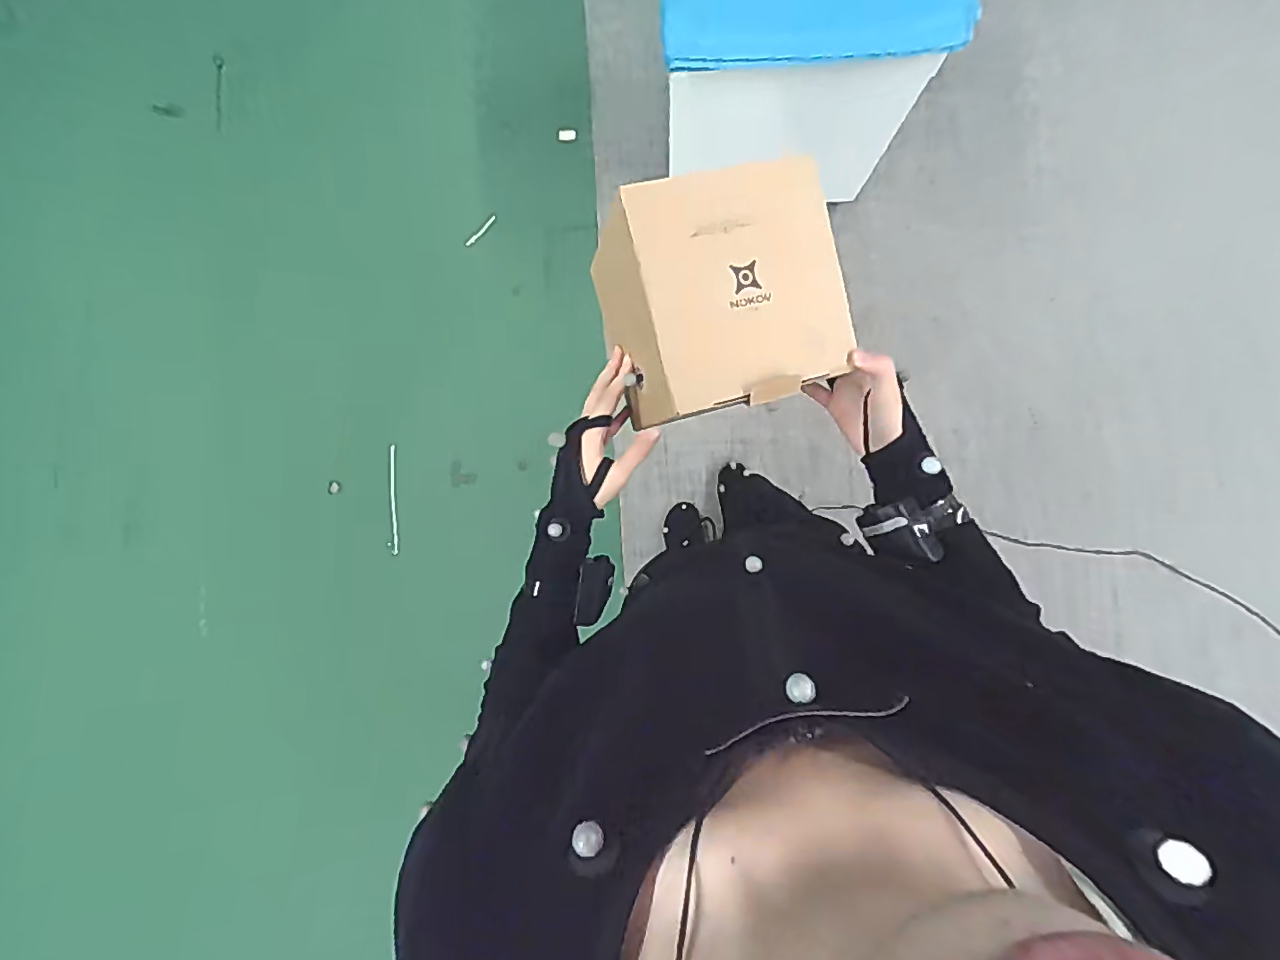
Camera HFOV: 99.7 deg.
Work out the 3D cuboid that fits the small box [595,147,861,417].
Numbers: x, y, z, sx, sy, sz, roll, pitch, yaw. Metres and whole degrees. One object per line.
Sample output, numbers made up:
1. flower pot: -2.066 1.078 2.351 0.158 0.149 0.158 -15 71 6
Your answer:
1. small box: 0.064 -0.158 0.487 0.168 0.176 0.179 -14 94 -12
